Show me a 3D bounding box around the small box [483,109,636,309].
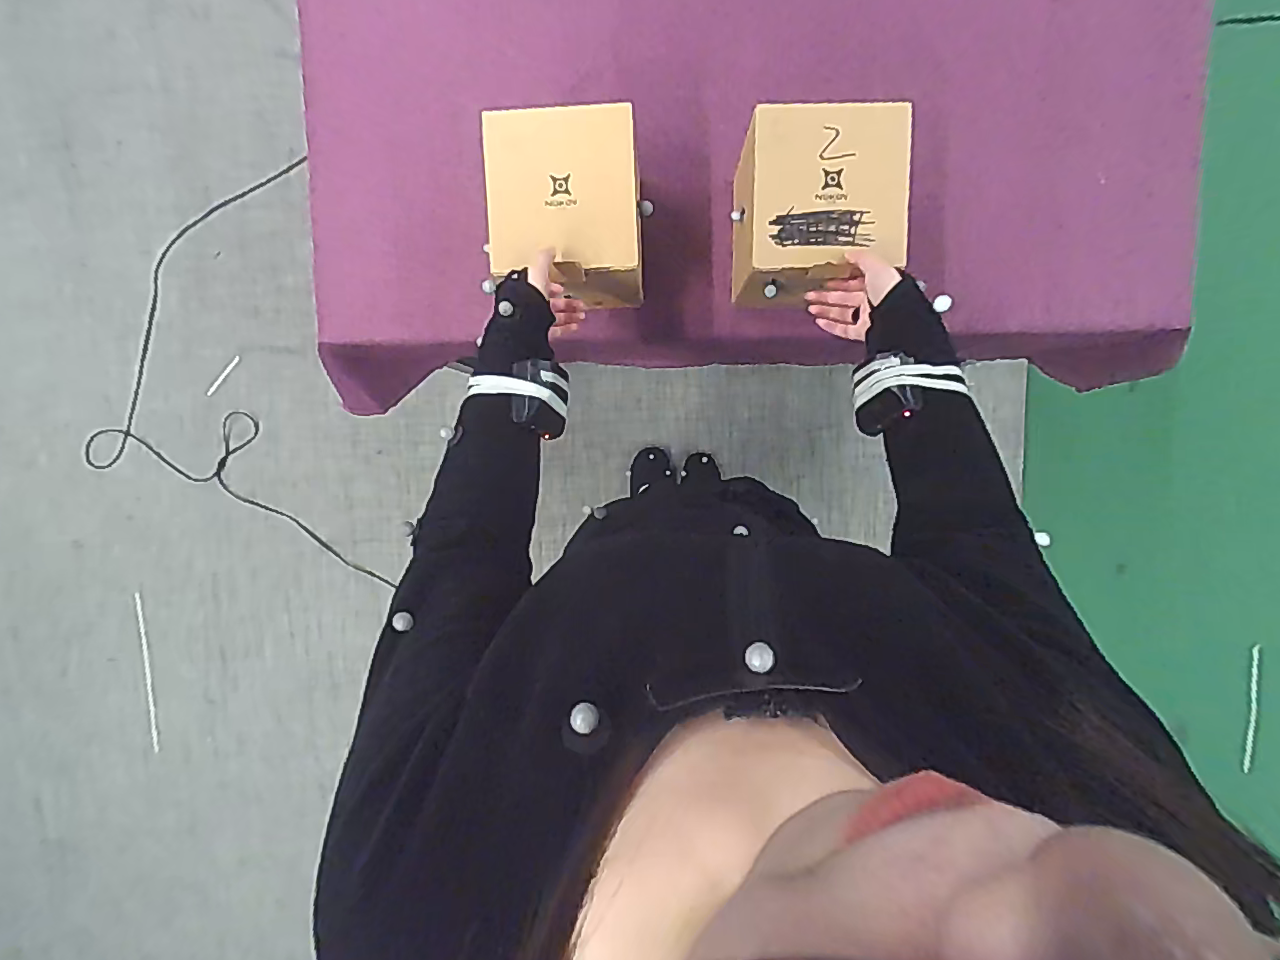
[{"bbox_3d":[-0.090,-0.327,0.682,0.168,0.176,0.179,-2,95,2],"label":"small box"}]
